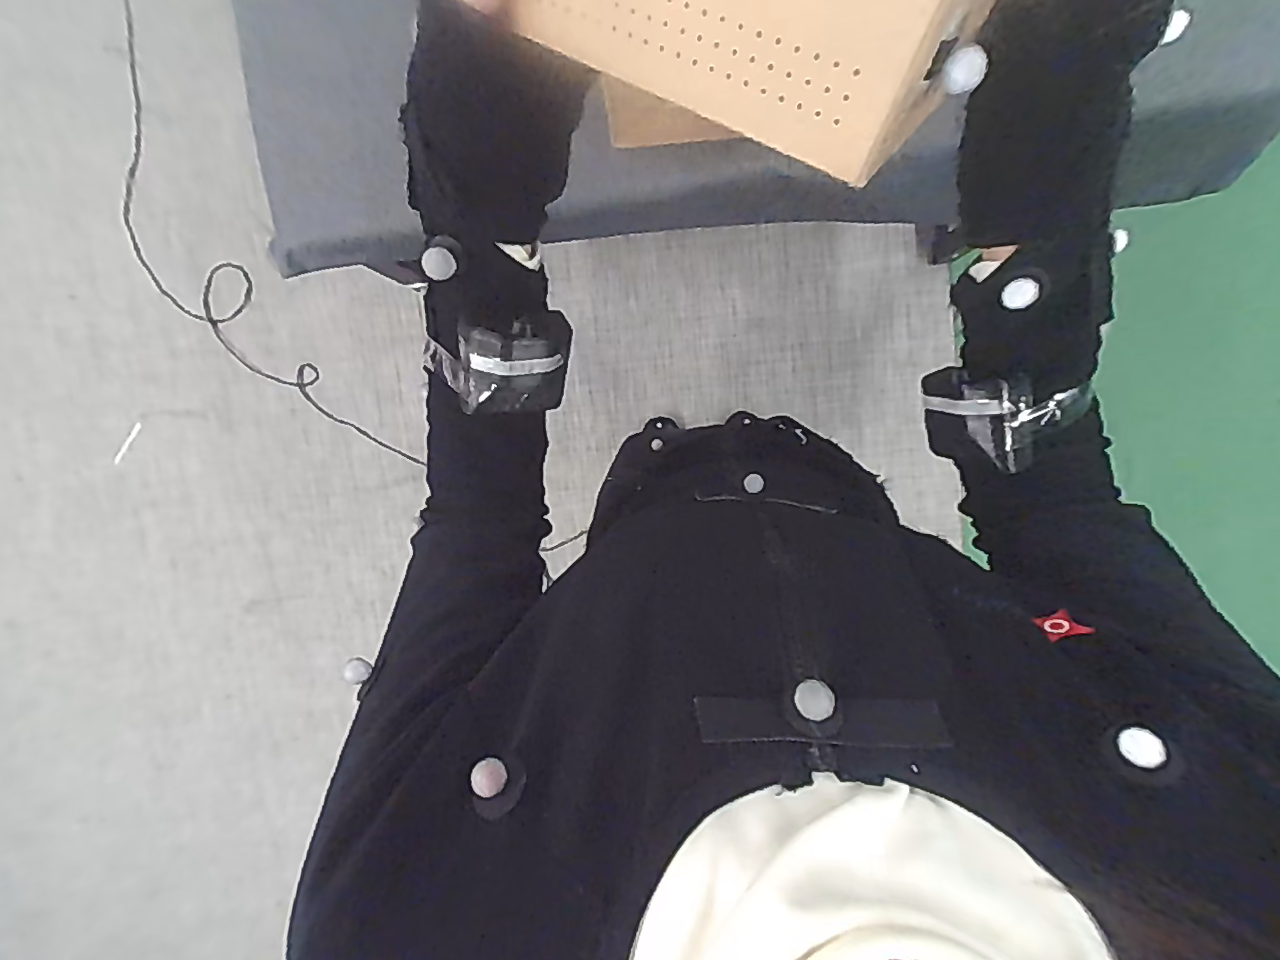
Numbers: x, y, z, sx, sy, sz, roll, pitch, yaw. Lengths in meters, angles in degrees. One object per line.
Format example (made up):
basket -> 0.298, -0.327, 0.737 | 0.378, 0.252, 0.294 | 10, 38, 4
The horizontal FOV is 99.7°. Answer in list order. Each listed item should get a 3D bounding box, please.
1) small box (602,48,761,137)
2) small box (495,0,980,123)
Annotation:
small box -> 0.051, -0.487, 0.565 | 0.179, 0.176, 0.168 | -2, 96, 4
small box -> 0.053, -0.246, 0.173 | 0.179, 0.176, 0.168 | 32, 56, 11
